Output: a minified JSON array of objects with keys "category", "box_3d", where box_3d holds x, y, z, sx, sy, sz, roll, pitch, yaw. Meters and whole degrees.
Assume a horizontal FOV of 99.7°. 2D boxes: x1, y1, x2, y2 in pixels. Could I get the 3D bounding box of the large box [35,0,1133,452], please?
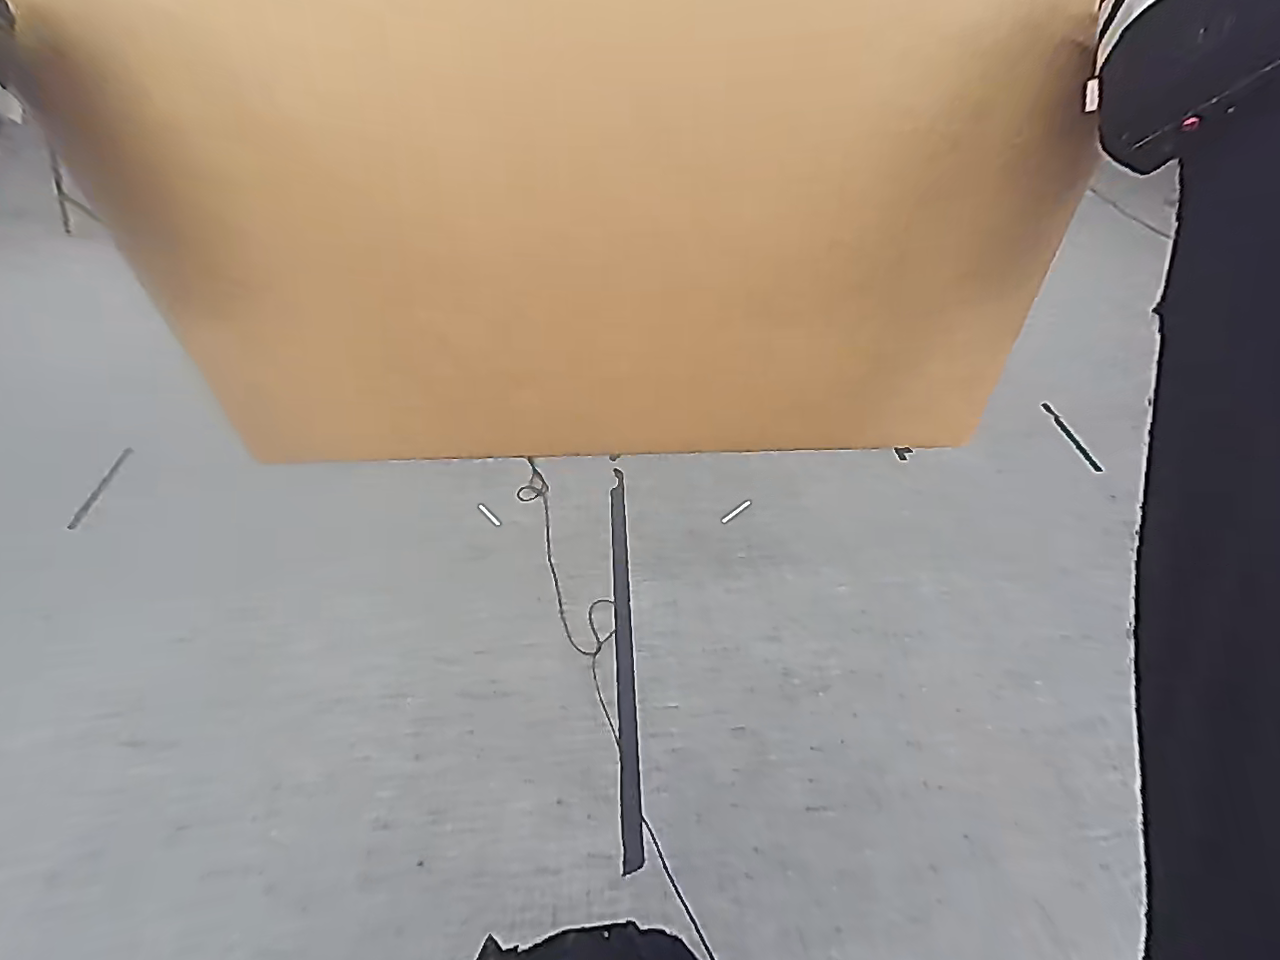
[{"category":"large box","box_3d":[-0.020,-0.229,0.335,0.408,0.320,0.320,-1,40,-1]}]
